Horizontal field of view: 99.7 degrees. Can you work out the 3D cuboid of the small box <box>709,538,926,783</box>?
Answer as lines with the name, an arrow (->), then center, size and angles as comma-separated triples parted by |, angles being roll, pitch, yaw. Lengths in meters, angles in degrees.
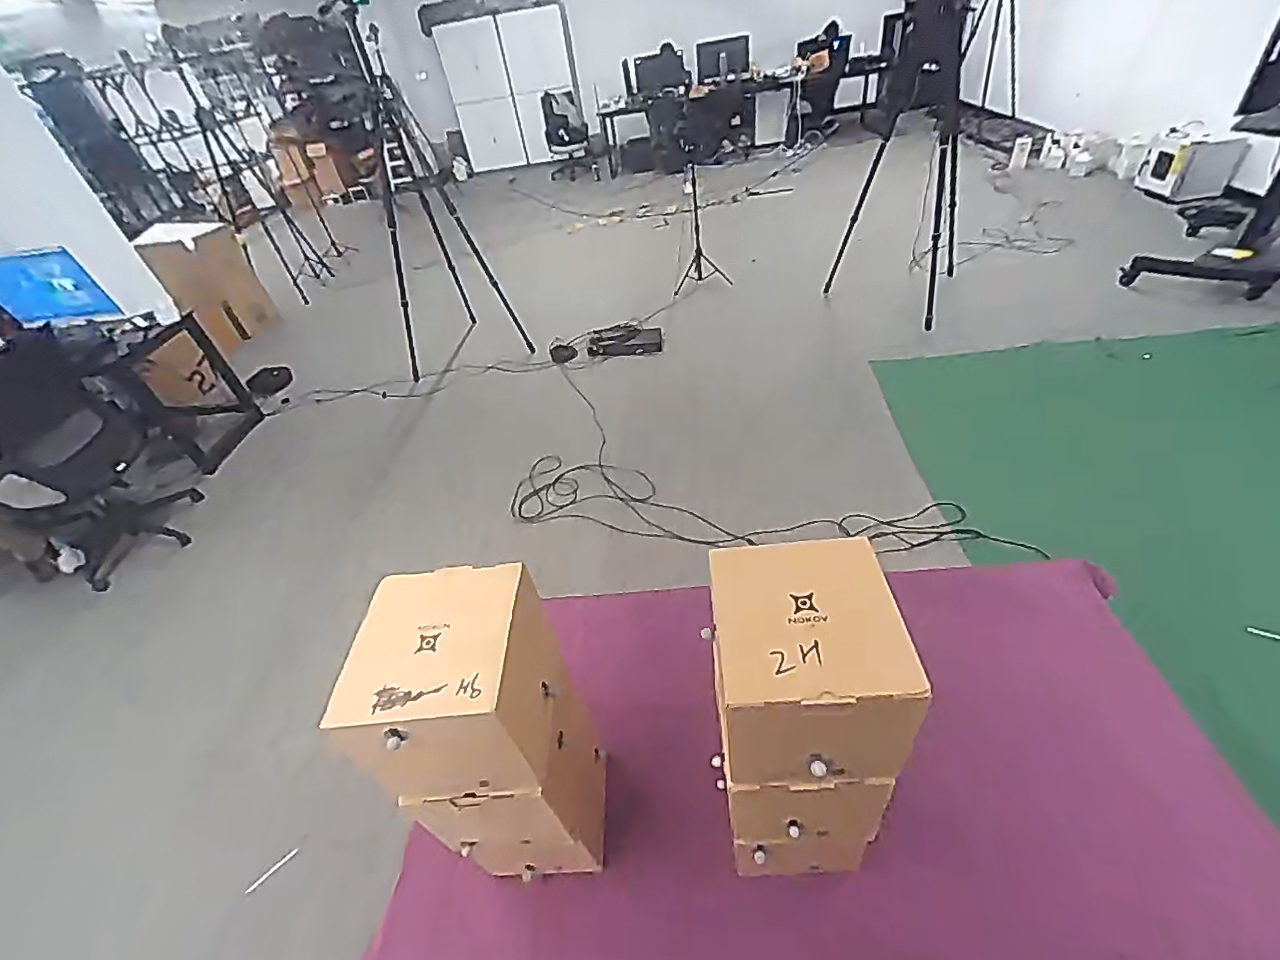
small box -> 0.161, 0.183, 0.551 | 0.168, 0.176, 0.179 | -6, 41, 6

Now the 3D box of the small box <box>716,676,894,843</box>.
small box -> 0.182, 0.310, 0.653 | 0.168, 0.176, 0.179 | -6, 41, 6

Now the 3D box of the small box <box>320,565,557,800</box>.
small box -> -0.195, 0.219, 0.590 | 0.168, 0.176, 0.179 | -8, 39, 6

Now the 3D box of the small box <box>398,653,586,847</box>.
small box -> -0.171, 0.347, 0.691 | 0.168, 0.176, 0.179 | -7, 39, 6

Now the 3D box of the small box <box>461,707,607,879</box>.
small box -> -0.146, 0.464, 0.803 | 0.168, 0.176, 0.179 | -7, 41, 6
